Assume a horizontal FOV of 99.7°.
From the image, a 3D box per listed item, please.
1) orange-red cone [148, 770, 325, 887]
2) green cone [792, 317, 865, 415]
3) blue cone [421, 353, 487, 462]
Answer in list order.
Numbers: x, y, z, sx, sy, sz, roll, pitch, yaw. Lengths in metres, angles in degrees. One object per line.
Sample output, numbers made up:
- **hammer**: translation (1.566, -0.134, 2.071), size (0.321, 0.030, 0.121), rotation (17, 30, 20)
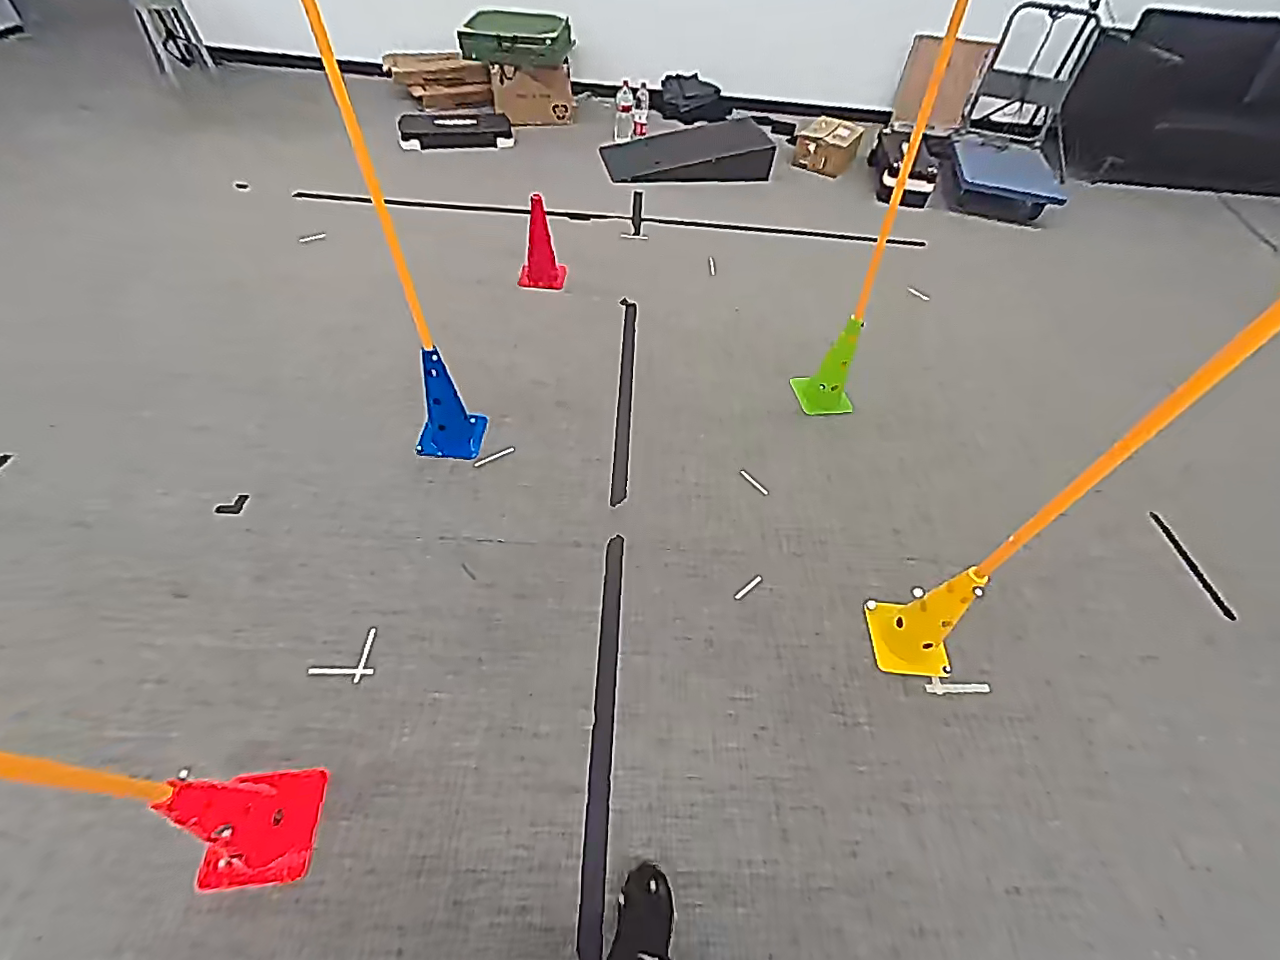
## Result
- **orange-red cone**: translation (-0.746, 0.592, 0.962), size (0.199, 0.360, 0.198), rotation (1, 51, -7)
- **green cone**: translation (0.717, -0.430, 1.953), size (0.200, 0.368, 0.202), rotation (-5, 53, -9)
- **blue cone**: translation (-0.608, -0.241, 1.684), size (0.193, 0.380, 0.192), rotation (6, 51, -1)
